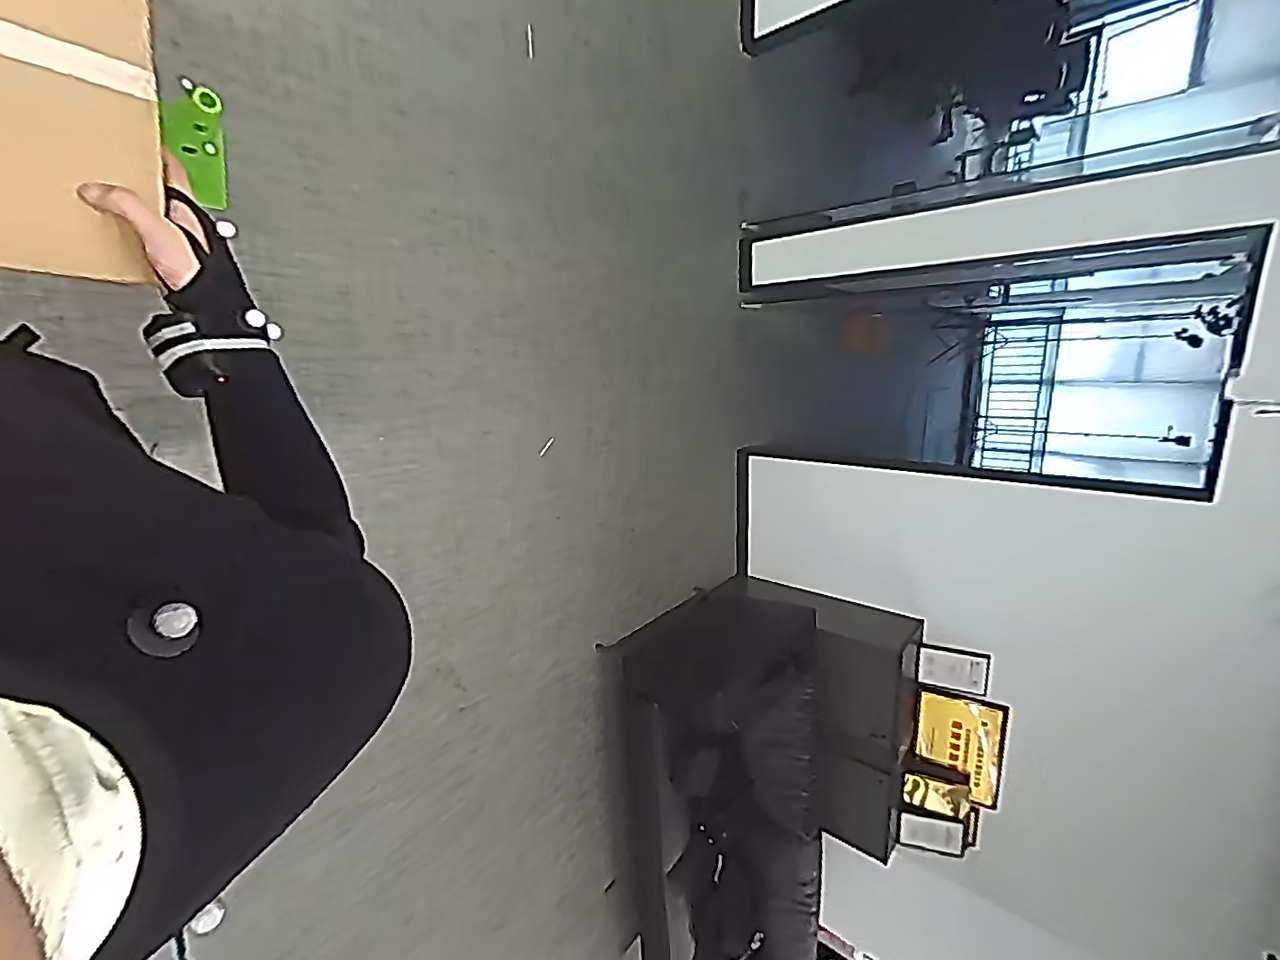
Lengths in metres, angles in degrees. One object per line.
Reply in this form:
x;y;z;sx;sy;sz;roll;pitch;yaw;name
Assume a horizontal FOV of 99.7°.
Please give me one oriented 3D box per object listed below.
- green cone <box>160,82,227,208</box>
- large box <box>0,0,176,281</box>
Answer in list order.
-0.923;-0.718;1.104;0.200;0.368;0.202;-8;102;-50;green cone
-0.640;-0.347;0.383;0.408;0.320;0.320;-12;121;-50;large box
